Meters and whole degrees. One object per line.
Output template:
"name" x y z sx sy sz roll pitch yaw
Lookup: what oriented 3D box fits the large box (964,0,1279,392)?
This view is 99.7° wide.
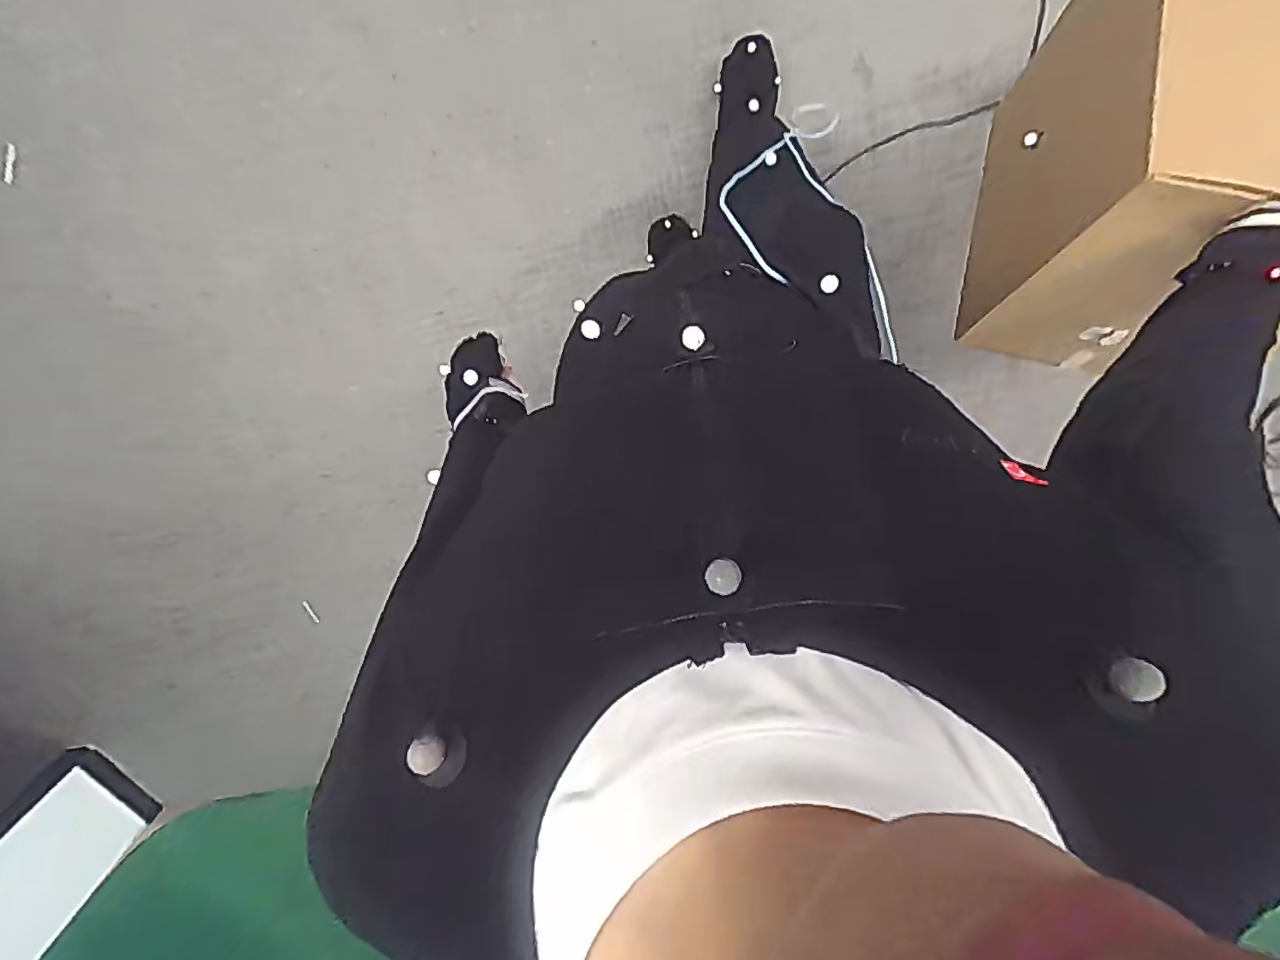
"large box" 0.636 -0.366 0.641 0.320 0.320 0.408 14 78 5
